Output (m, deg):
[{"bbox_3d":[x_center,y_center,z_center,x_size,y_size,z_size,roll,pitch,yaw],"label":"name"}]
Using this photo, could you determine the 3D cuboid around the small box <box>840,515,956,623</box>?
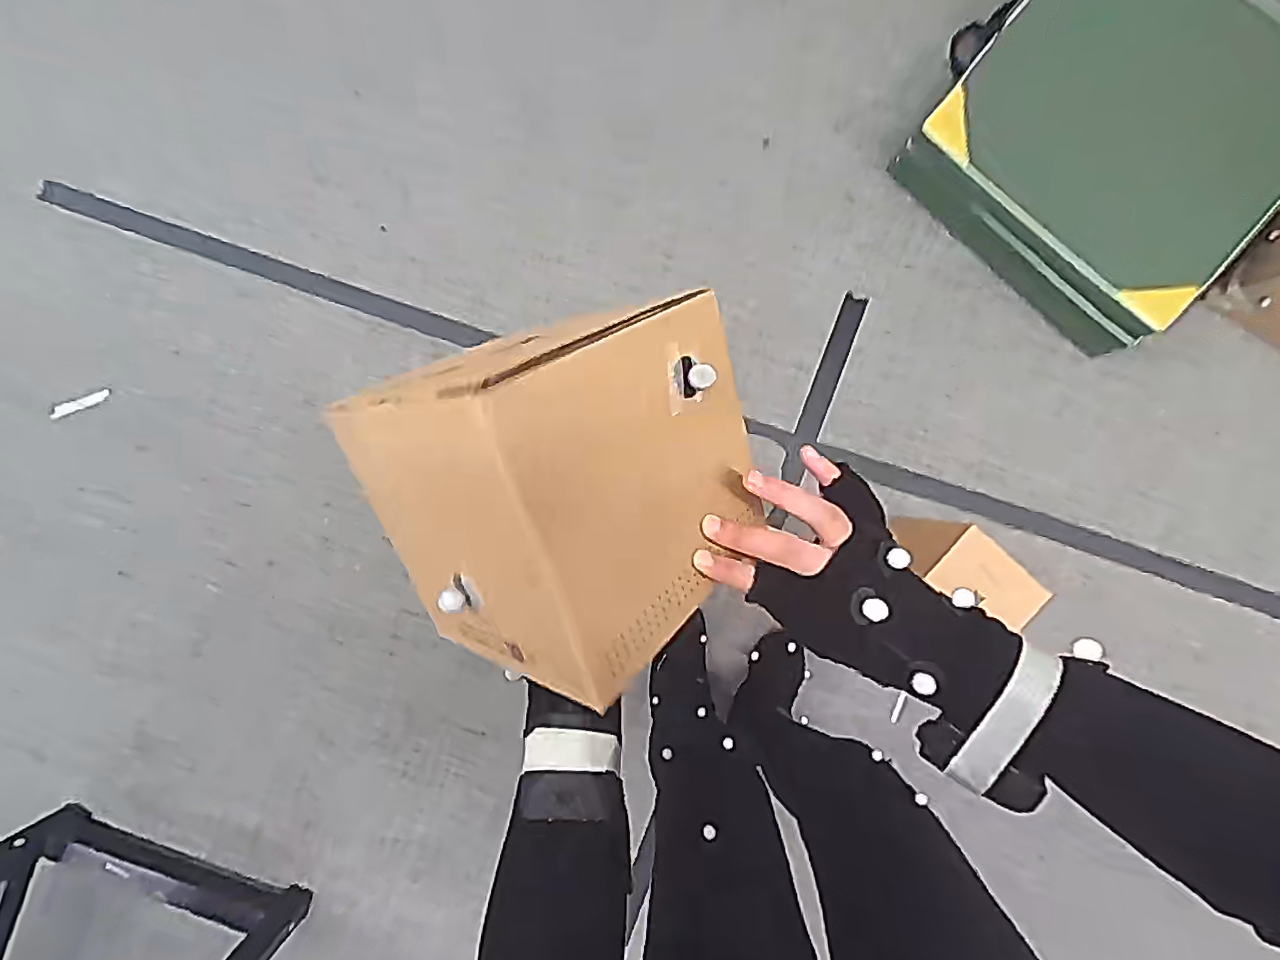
[{"bbox_3d":[0.513,0.168,1.067,0.179,0.176,0.168,-14,89,1],"label":"small box"}]

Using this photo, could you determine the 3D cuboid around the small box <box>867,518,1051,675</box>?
[{"bbox_3d":[0.510,0.181,0.901,0.168,0.176,0.179,43,90,0],"label":"small box"}]
